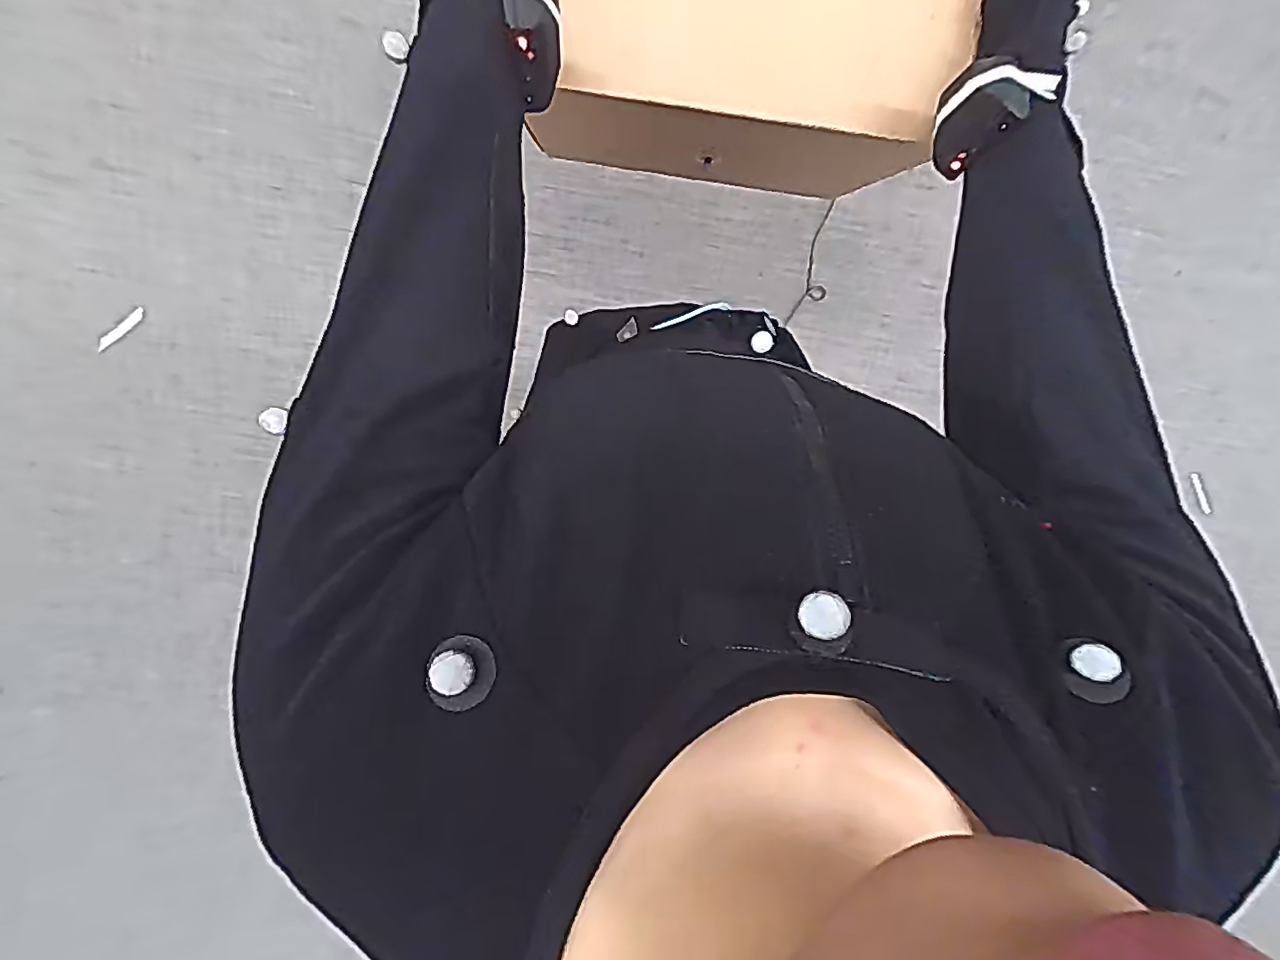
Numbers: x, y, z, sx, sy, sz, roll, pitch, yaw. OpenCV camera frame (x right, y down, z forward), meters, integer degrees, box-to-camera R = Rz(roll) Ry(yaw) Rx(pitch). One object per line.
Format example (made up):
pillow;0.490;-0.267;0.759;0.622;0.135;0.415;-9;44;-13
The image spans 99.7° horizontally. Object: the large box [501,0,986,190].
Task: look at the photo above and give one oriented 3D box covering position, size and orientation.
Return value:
large box;0.094;-0.511;0.557;0.408;0.320;0.320;6;109;-4
